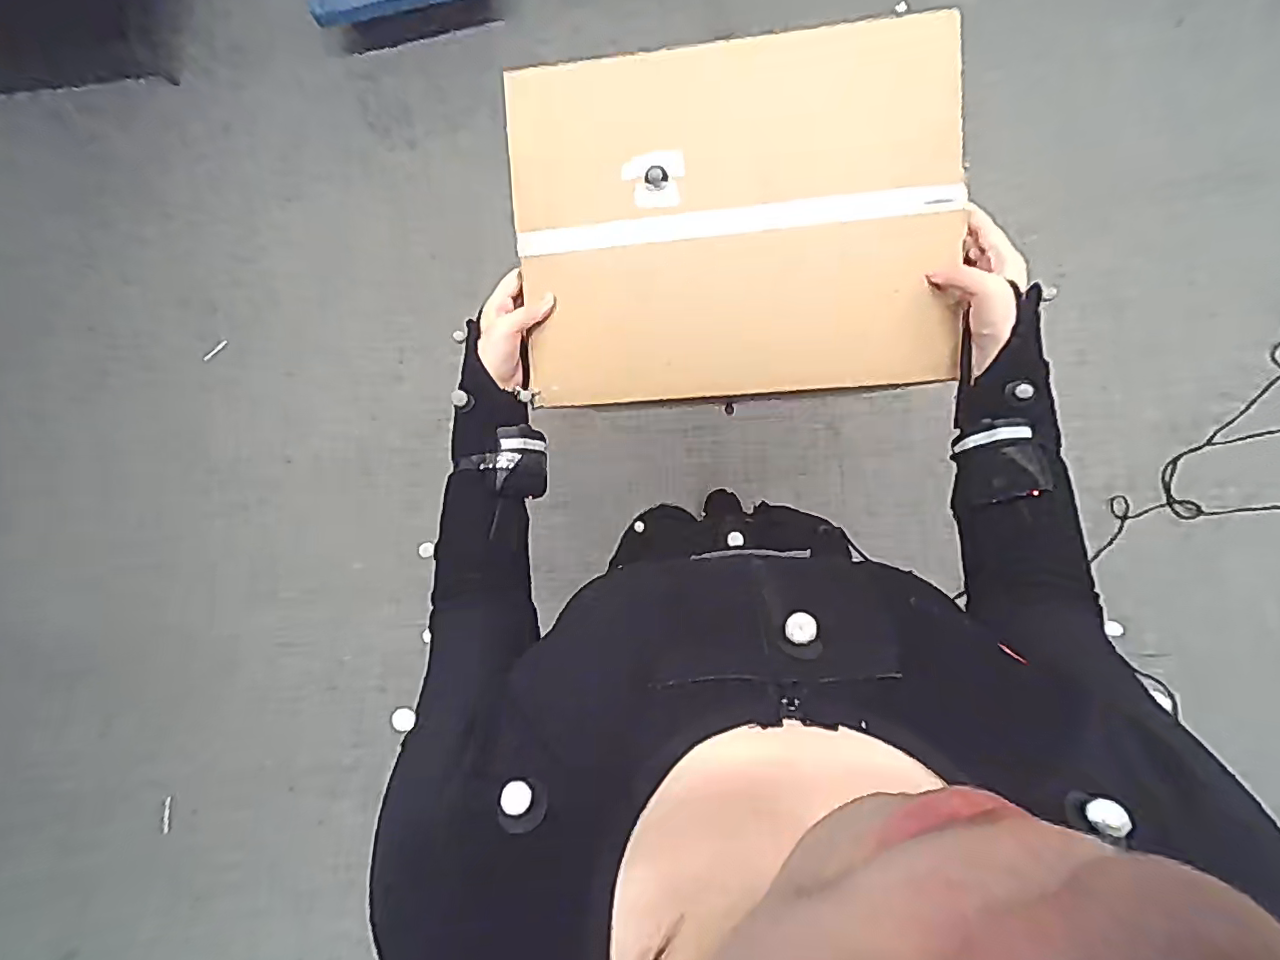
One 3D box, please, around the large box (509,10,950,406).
[{"bbox_3d":[0.102,-0.263,0.659,0.408,0.320,0.320,-3,96,8],"label":"large box"}]
